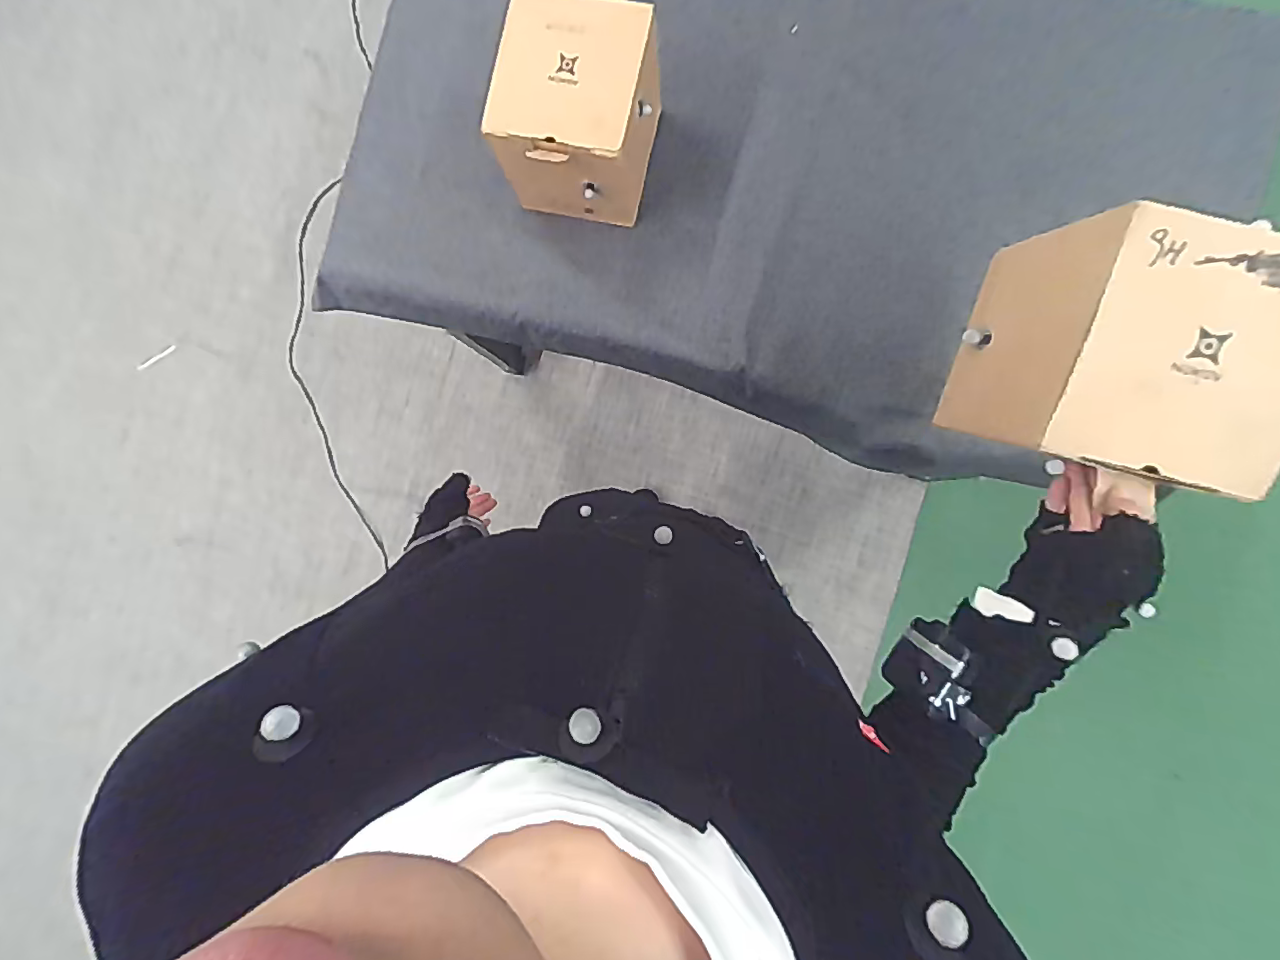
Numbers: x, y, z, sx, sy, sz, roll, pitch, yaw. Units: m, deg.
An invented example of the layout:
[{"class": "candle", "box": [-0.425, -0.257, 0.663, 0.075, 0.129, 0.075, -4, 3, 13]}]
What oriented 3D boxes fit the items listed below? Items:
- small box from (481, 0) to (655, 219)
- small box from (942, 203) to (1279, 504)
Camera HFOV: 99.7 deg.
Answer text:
[{"class": "small box", "box": [-0.077, -0.461, 0.681, 0.168, 0.176, 0.179, 13, 88, 4]}, {"class": "small box", "box": [0.391, -0.101, 0.456, 0.168, 0.176, 0.179, 14, 104, 0]}]
